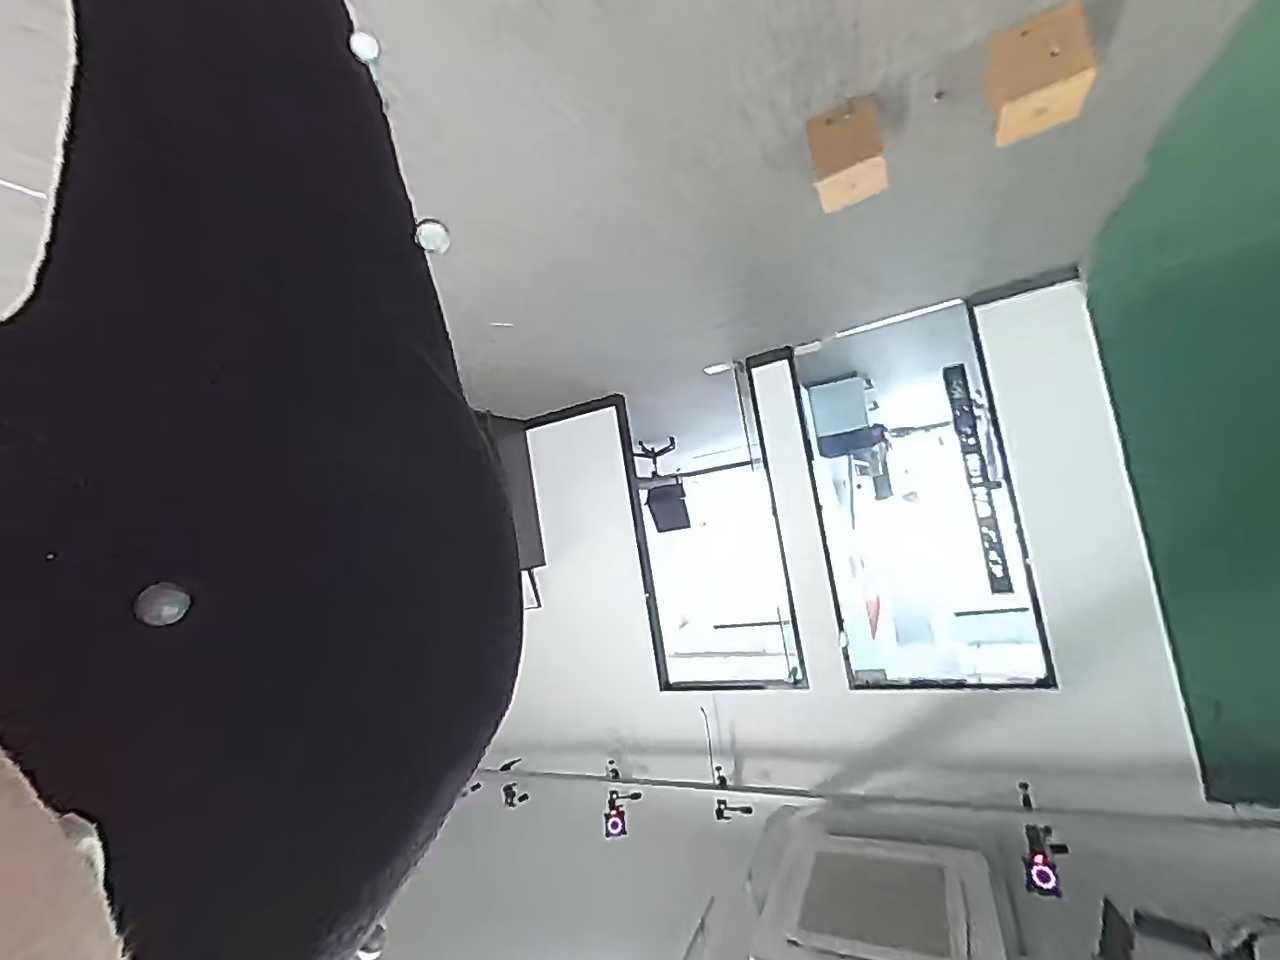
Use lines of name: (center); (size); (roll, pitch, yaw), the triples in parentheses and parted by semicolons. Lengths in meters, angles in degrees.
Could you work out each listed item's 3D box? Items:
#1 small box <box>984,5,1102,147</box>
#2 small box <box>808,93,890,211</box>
small box: (0.894, -0.908, 1.217); (0.168, 0.176, 0.179); (-12, 176, 26)
small box: (0.542, -0.839, 1.393); (0.168, 0.176, 0.179); (-12, 175, 26)
